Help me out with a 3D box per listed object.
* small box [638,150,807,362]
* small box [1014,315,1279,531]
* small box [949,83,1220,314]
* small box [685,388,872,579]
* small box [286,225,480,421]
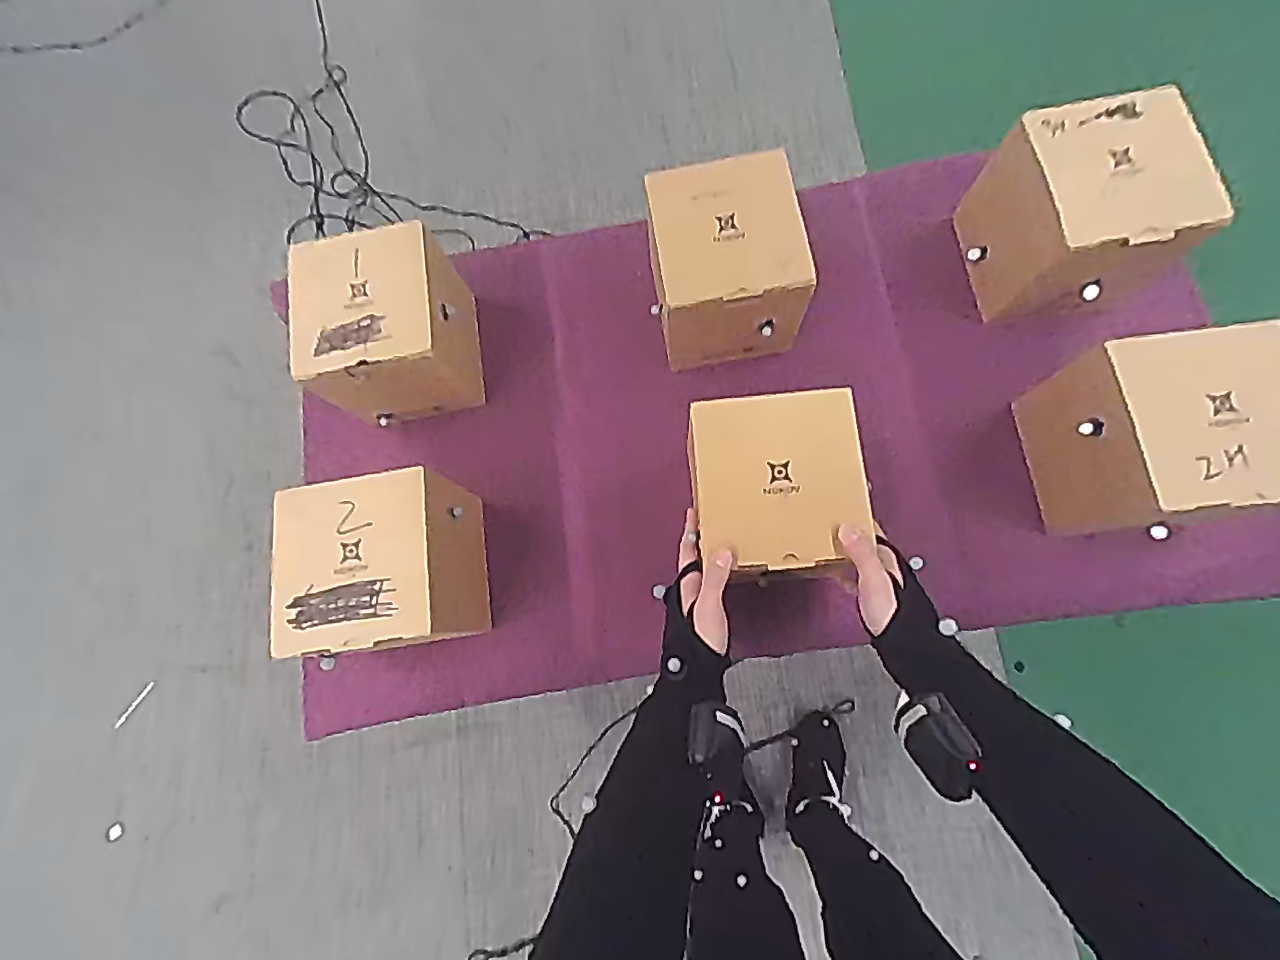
[{"bbox_3d":[0.097,-0.263,0.679,0.168,0.176,0.179,-10,76,3],"label":"small box"},{"bbox_3d":[0.545,-0.049,0.582,0.168,0.176,0.179,-7,76,5],"label":"small box"},{"bbox_3d":[0.509,-0.318,0.651,0.168,0.176,0.179,-9,78,3],"label":"small box"},{"bbox_3d":[0.140,0.015,0.612,0.168,0.176,0.179,-6,77,4],"label":"small box"},{"bbox_3d":[-0.320,-0.187,0.699,0.168,0.176,0.179,-11,76,2],"label":"small box"}]
